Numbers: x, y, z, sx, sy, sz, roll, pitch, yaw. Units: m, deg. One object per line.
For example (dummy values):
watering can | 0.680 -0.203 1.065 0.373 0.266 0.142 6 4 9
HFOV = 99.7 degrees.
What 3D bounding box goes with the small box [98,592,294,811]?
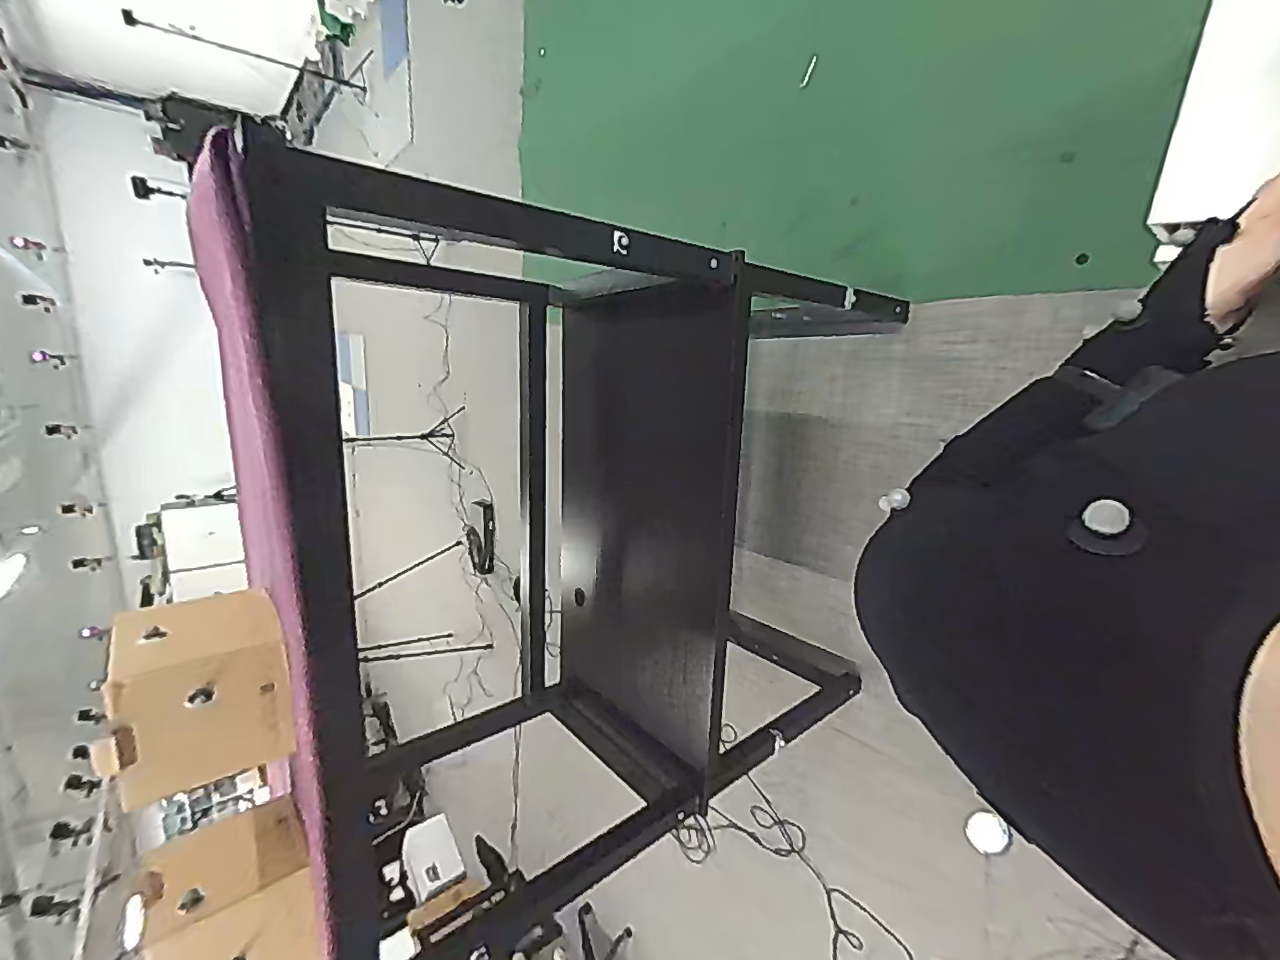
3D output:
small box | -0.548 0.258 0.684 0.179 0.176 0.168 19 110 48
